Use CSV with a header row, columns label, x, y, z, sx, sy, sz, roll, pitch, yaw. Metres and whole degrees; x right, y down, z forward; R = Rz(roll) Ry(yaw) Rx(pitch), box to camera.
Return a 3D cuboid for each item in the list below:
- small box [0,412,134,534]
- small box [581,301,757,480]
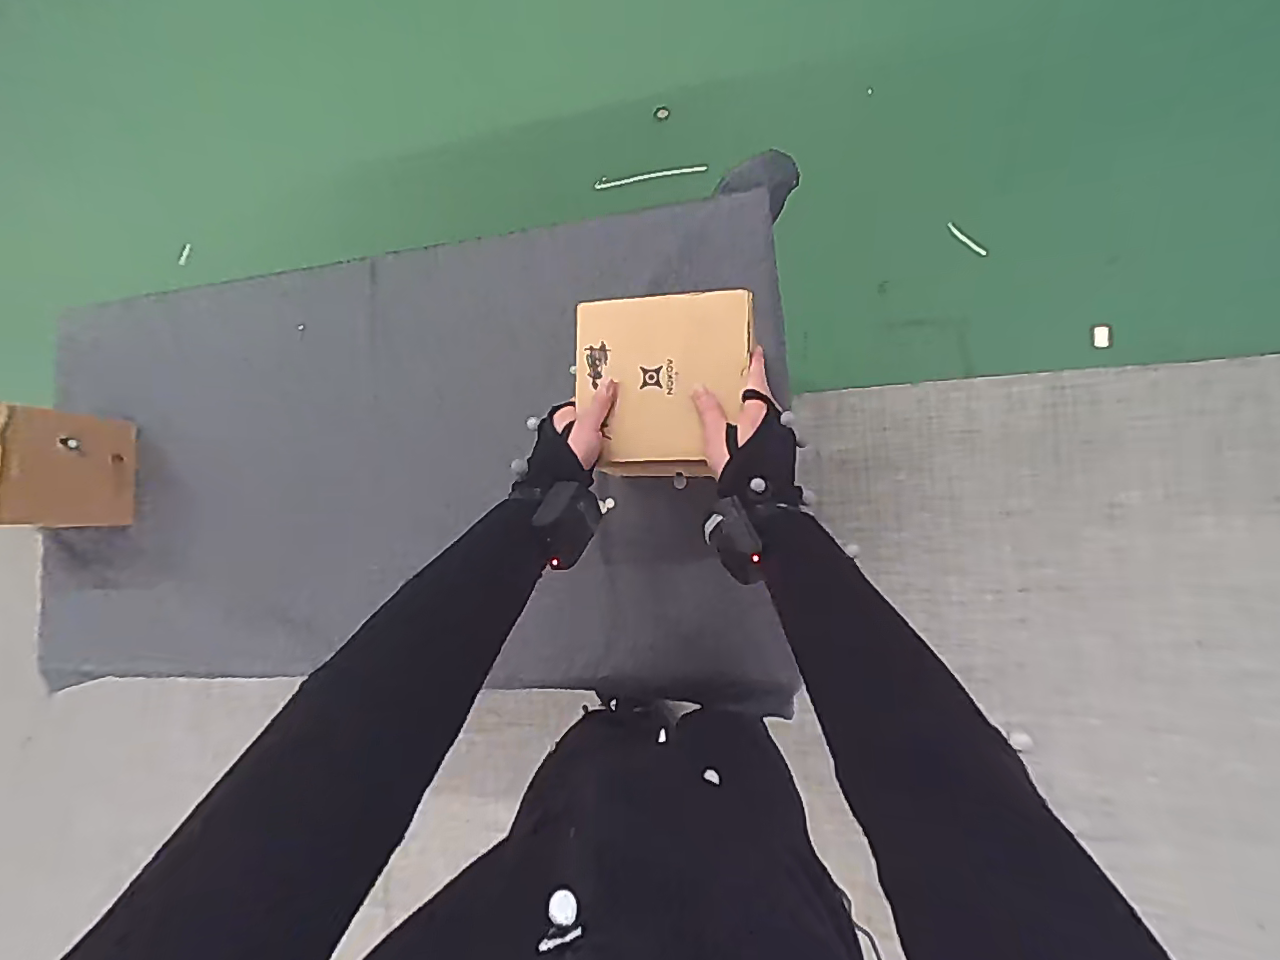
label,x,y,z,sx,sy,sz,roll,pitch,yaw
small box,-0.912,-0.004,0.805,0.179,0.176,0.168,-1,84,12
small box,0.042,-0.088,0.612,0.179,0.176,0.168,0,86,13
